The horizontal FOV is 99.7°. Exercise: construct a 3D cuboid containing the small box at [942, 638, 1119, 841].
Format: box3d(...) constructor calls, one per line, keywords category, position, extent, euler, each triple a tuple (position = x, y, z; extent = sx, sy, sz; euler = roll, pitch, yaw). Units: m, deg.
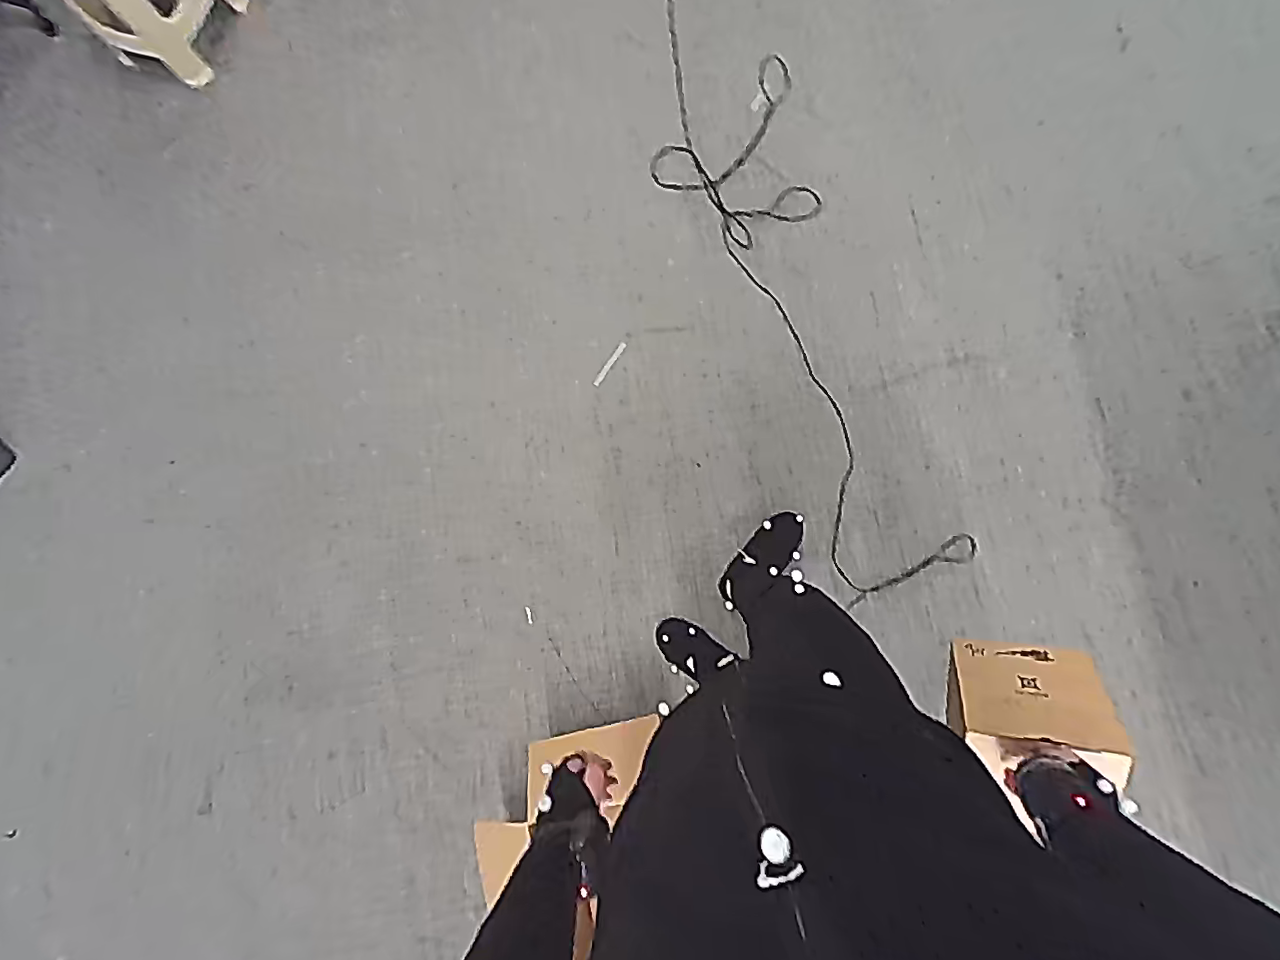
box3d(category="small box", position=(0.522, 0.353, 0.750), extent=(0.168, 0.179, 0.176), euler=(2, 117, 24))
